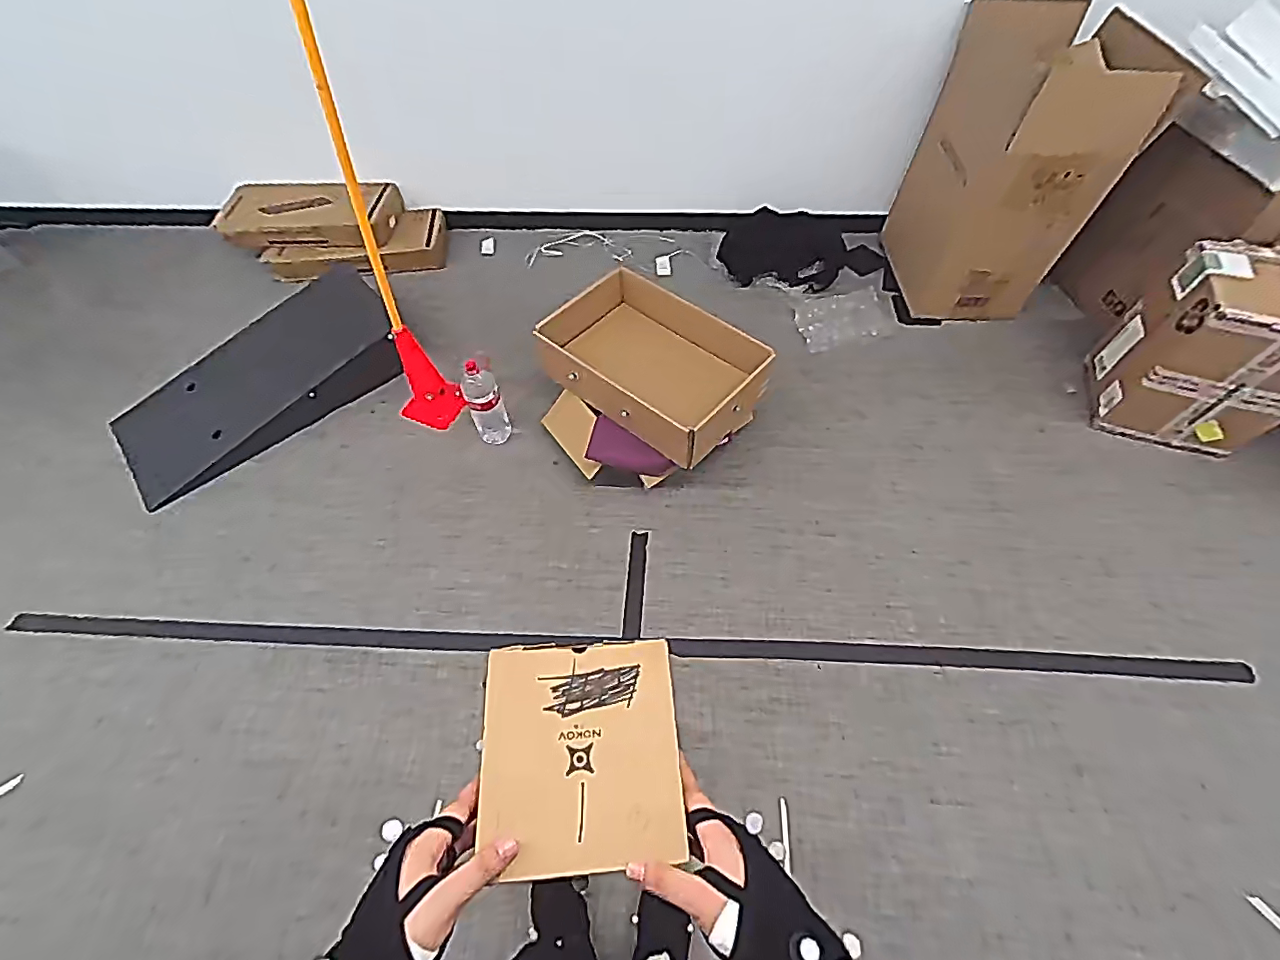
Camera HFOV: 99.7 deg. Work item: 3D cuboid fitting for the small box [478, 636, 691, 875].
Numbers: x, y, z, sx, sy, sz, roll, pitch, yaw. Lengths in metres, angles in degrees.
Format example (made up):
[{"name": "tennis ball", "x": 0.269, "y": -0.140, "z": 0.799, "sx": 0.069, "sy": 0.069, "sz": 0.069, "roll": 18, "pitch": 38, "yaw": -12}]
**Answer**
[{"name": "small box", "x": -0.052, "y": 0.265, "z": 0.523, "sx": 0.168, "sy": 0.176, "sz": 0.179, "roll": -2, "pitch": 57, "yaw": -5}]
